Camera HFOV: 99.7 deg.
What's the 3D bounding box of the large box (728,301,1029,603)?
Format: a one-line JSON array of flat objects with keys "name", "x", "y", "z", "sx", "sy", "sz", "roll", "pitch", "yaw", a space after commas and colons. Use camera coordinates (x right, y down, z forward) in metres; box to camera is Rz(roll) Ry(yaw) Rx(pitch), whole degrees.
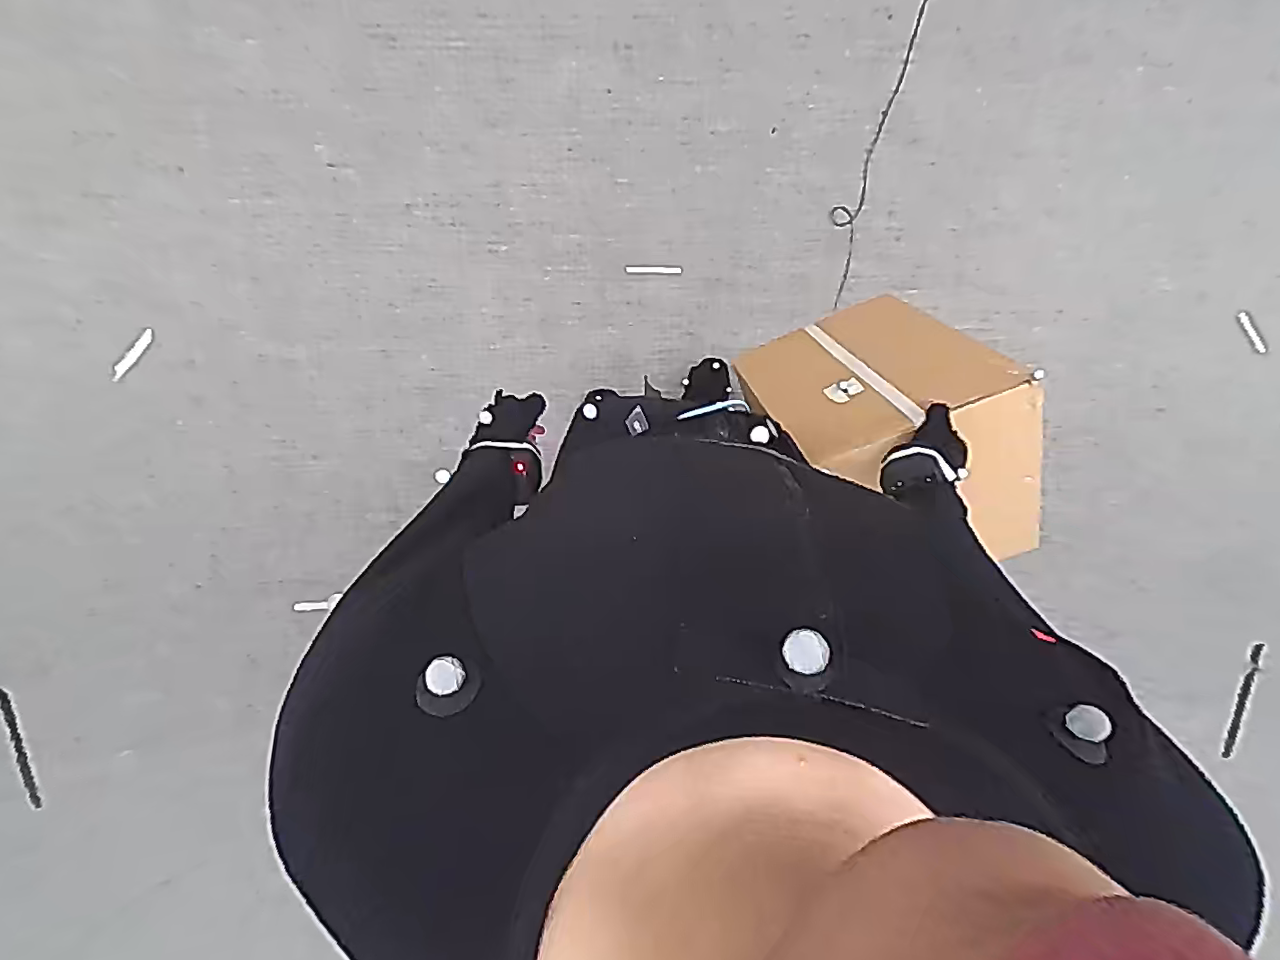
[{"name": "large box", "x": 0.390, "y": -0.065, "z": 0.959, "sx": 0.320, "sy": 0.408, "sz": 0.320, "roll": -22, "pitch": 124, "yaw": 6}]
